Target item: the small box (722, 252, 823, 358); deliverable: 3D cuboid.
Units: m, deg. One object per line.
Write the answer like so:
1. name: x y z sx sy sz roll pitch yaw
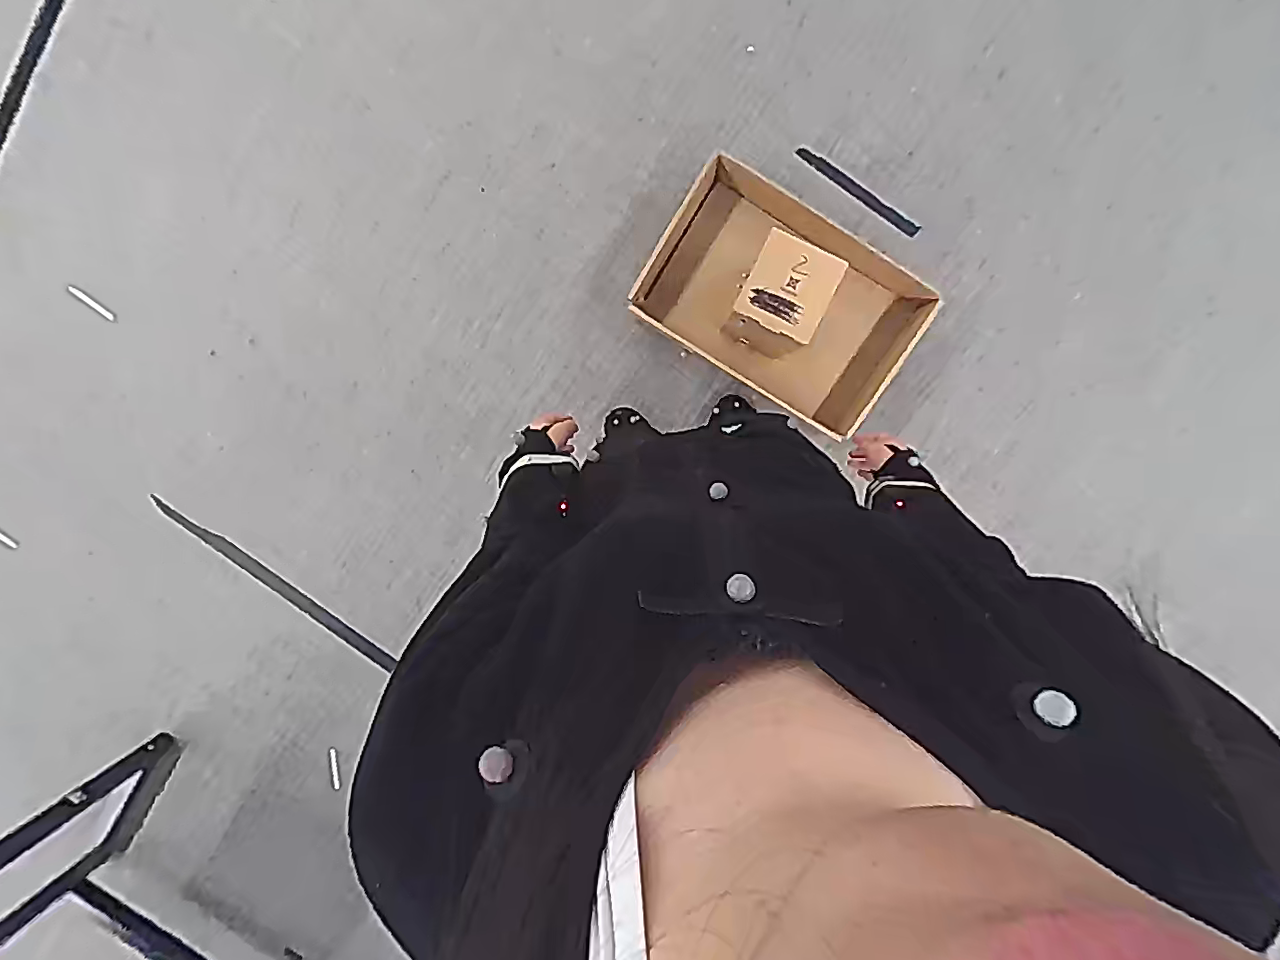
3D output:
1. small box: 0.306 -0.410 1.300 0.168 0.176 0.179 27 100 0
